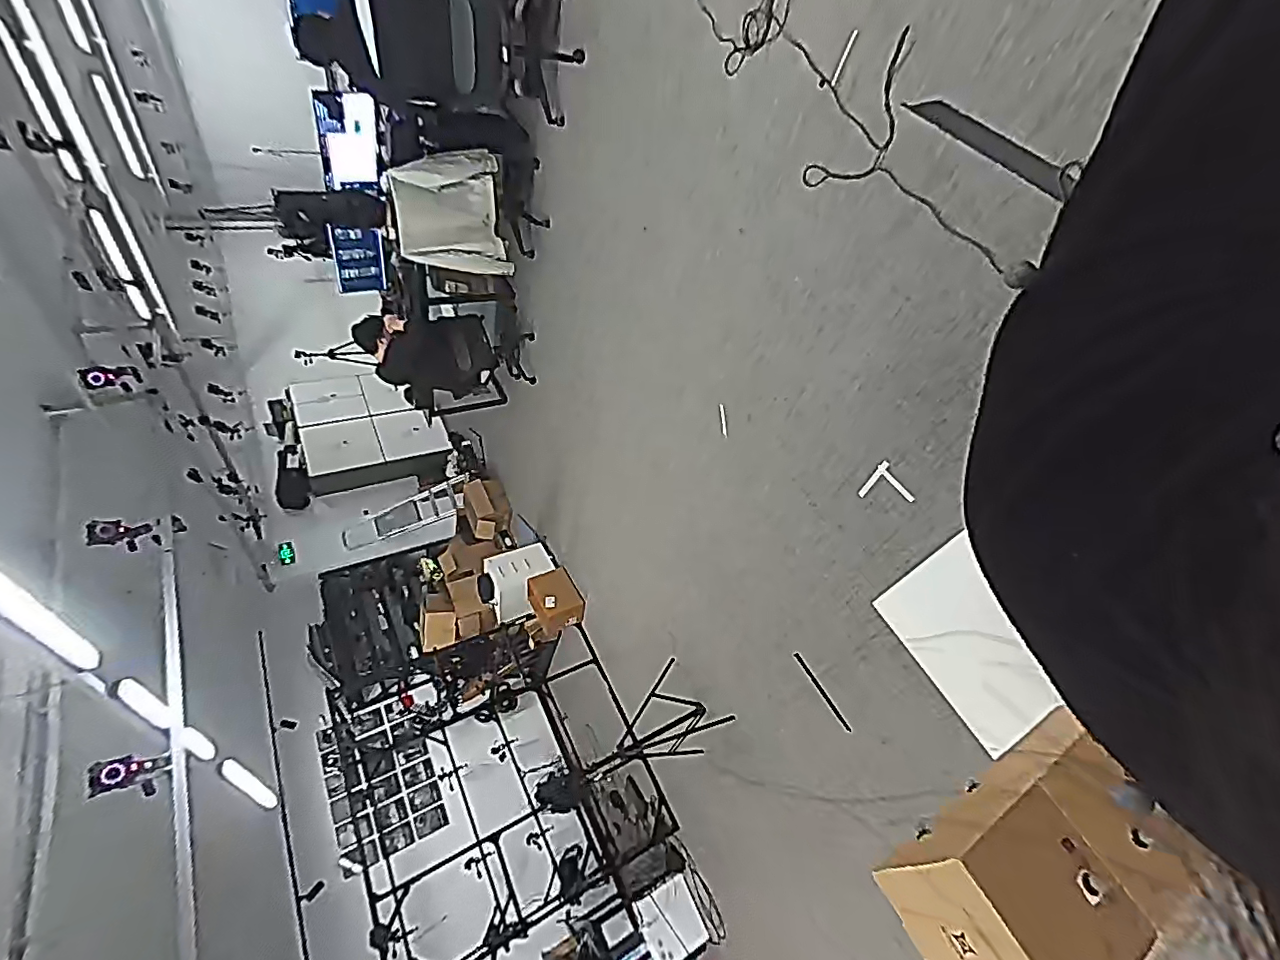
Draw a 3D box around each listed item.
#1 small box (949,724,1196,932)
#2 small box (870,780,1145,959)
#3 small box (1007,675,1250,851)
[{"bbox_3d":[0.564,0.451,0.711,0.168,0.176,0.179,58,149,29],"label":"small box"},{"bbox_3d":[0.424,0.490,0.638,0.168,0.176,0.179,57,147,29],"label":"small box"},{"bbox_3d":[0.703,0.414,0.788,0.168,0.176,0.179,59,149,28],"label":"small box"}]
